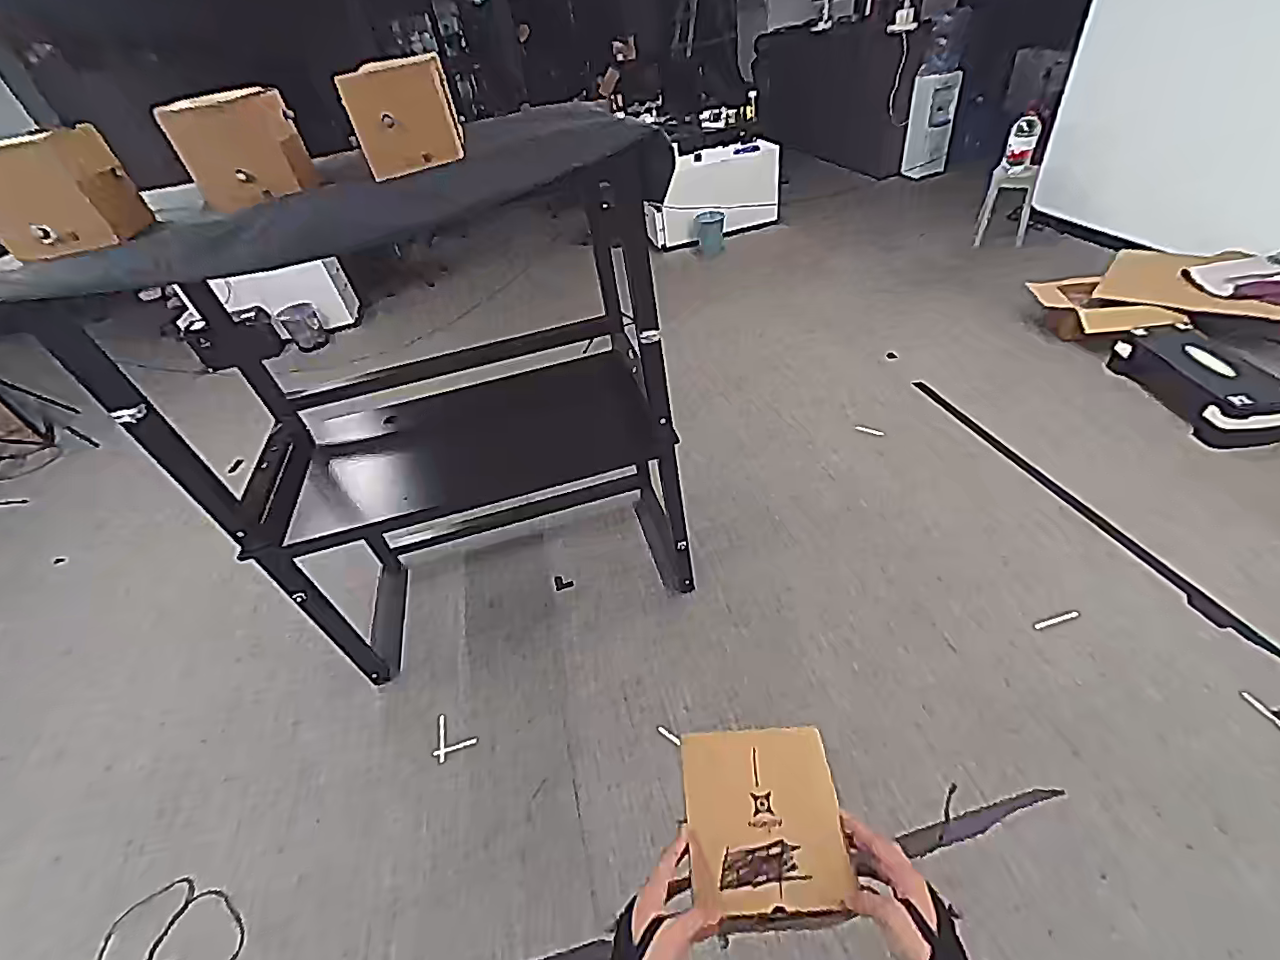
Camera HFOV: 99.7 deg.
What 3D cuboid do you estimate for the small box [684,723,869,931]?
[{"bbox_3d":[0.141,0.404,0.625,0.168,0.176,0.179,-4,46,1],"label":"small box"}]

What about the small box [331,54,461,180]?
[{"bbox_3d":[-0.449,-0.683,1.023,0.168,0.176,0.179,-17,39,-7],"label":"small box"}]

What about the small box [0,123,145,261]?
[{"bbox_3d":[-1.029,-0.501,0.941,0.168,0.176,0.179,-18,41,-7],"label":"small box"}]

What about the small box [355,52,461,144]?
[{"bbox_3d":[-0.517,-0.855,1.230,0.168,0.176,0.179,-16,41,-6],"label":"small box"}]
